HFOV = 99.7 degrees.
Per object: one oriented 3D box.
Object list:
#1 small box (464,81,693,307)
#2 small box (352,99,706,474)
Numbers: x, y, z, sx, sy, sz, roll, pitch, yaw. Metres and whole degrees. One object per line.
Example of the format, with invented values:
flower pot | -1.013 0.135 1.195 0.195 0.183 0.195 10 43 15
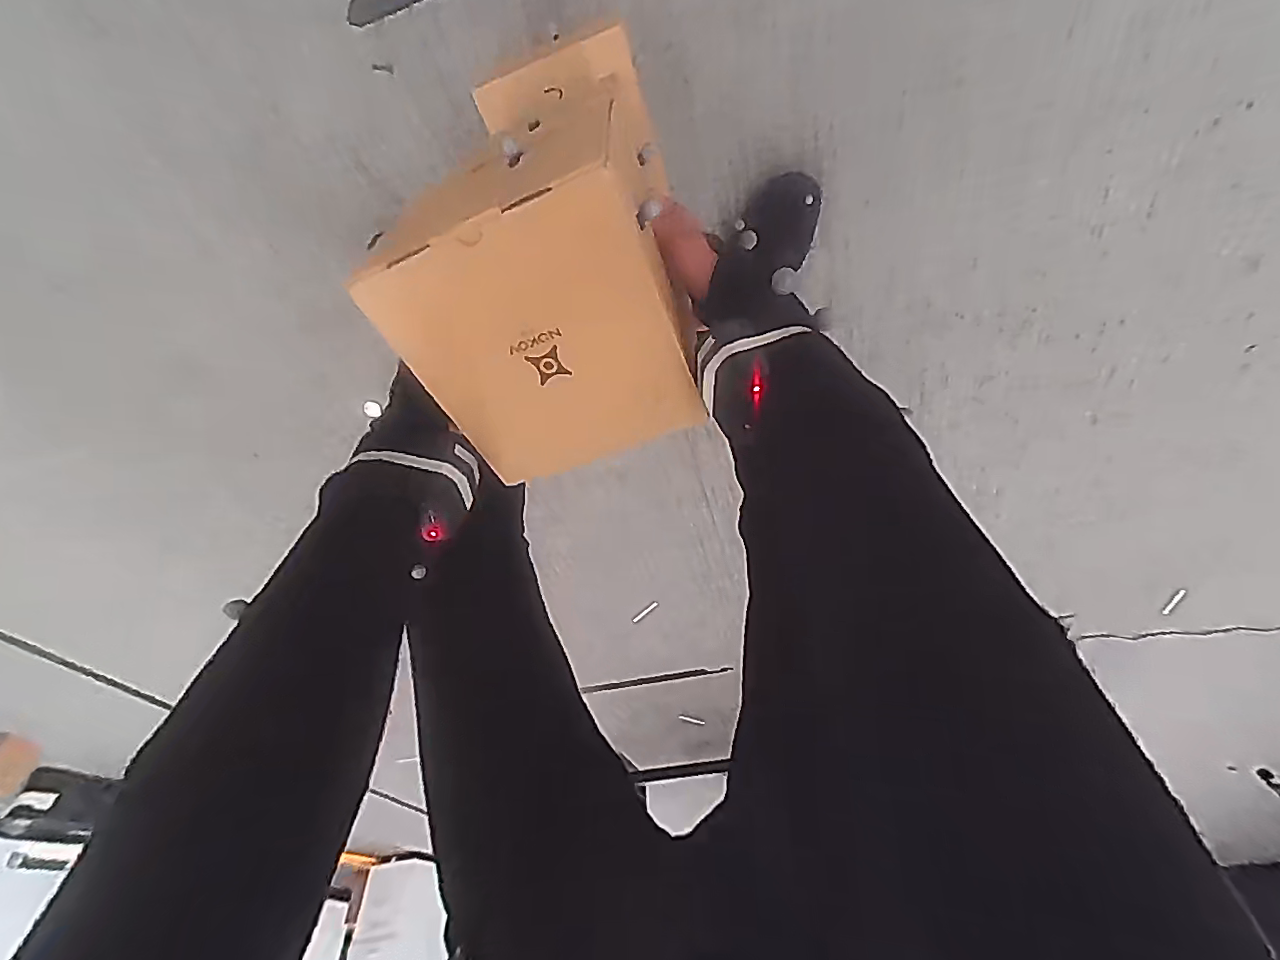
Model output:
small box | -0.059 -0.248 0.517 0.168 0.176 0.179 -16 133 14
small box | -0.058 -0.137 0.396 0.168 0.176 0.179 -16 132 15
